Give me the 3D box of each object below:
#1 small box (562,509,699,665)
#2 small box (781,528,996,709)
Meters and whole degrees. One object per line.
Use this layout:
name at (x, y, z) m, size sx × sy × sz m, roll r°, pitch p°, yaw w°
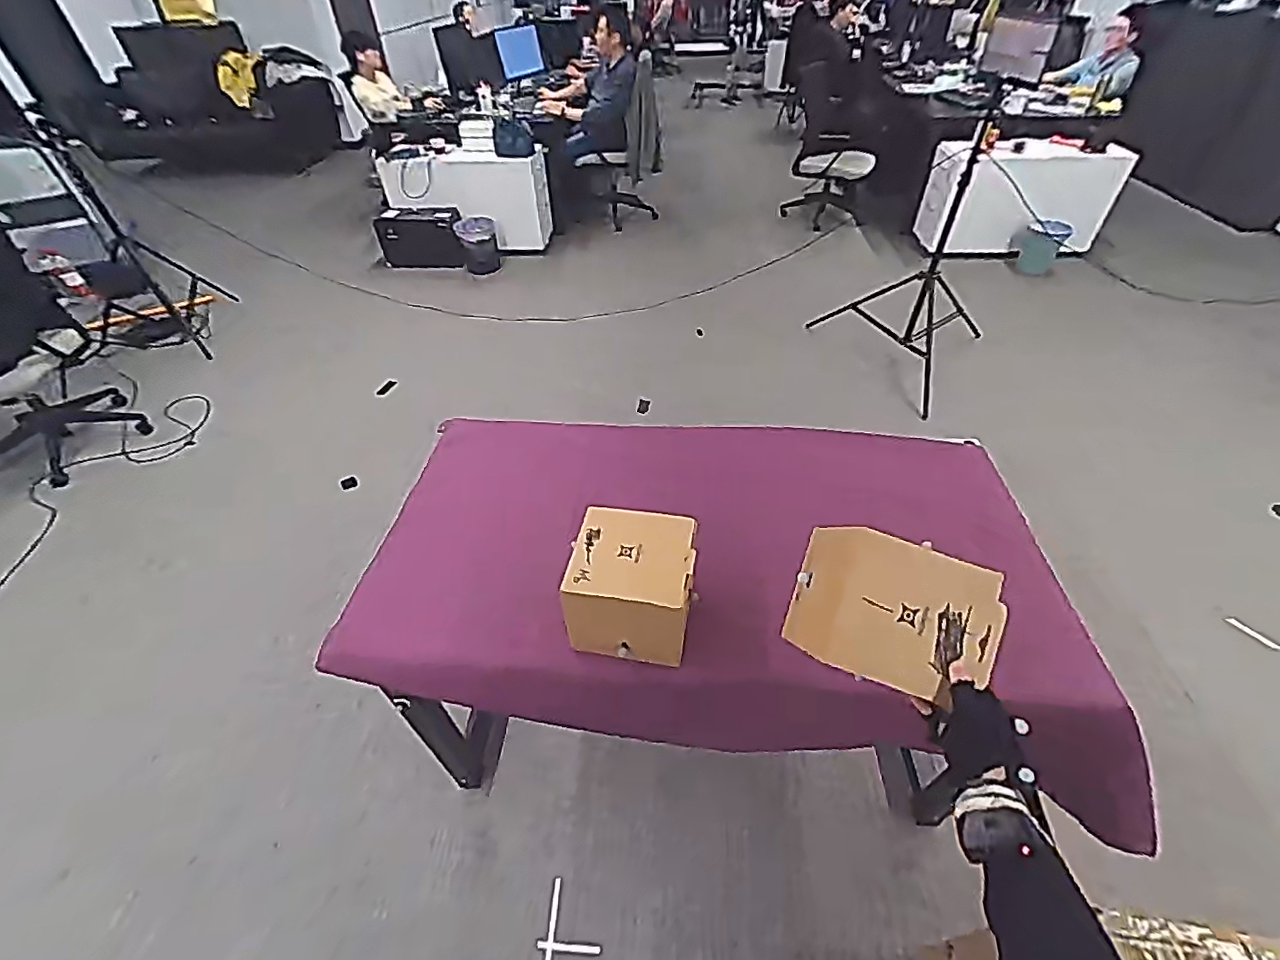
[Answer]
small box at (-0.009, 0.171, 0.853) m, size 0.179 × 0.176 × 0.168 m, roll 8°, pitch 44°, yaw 8°
small box at (0.308, 0.167, 0.703) m, size 0.179 × 0.176 × 0.168 m, roll 19°, pitch 82°, yaw 1°
